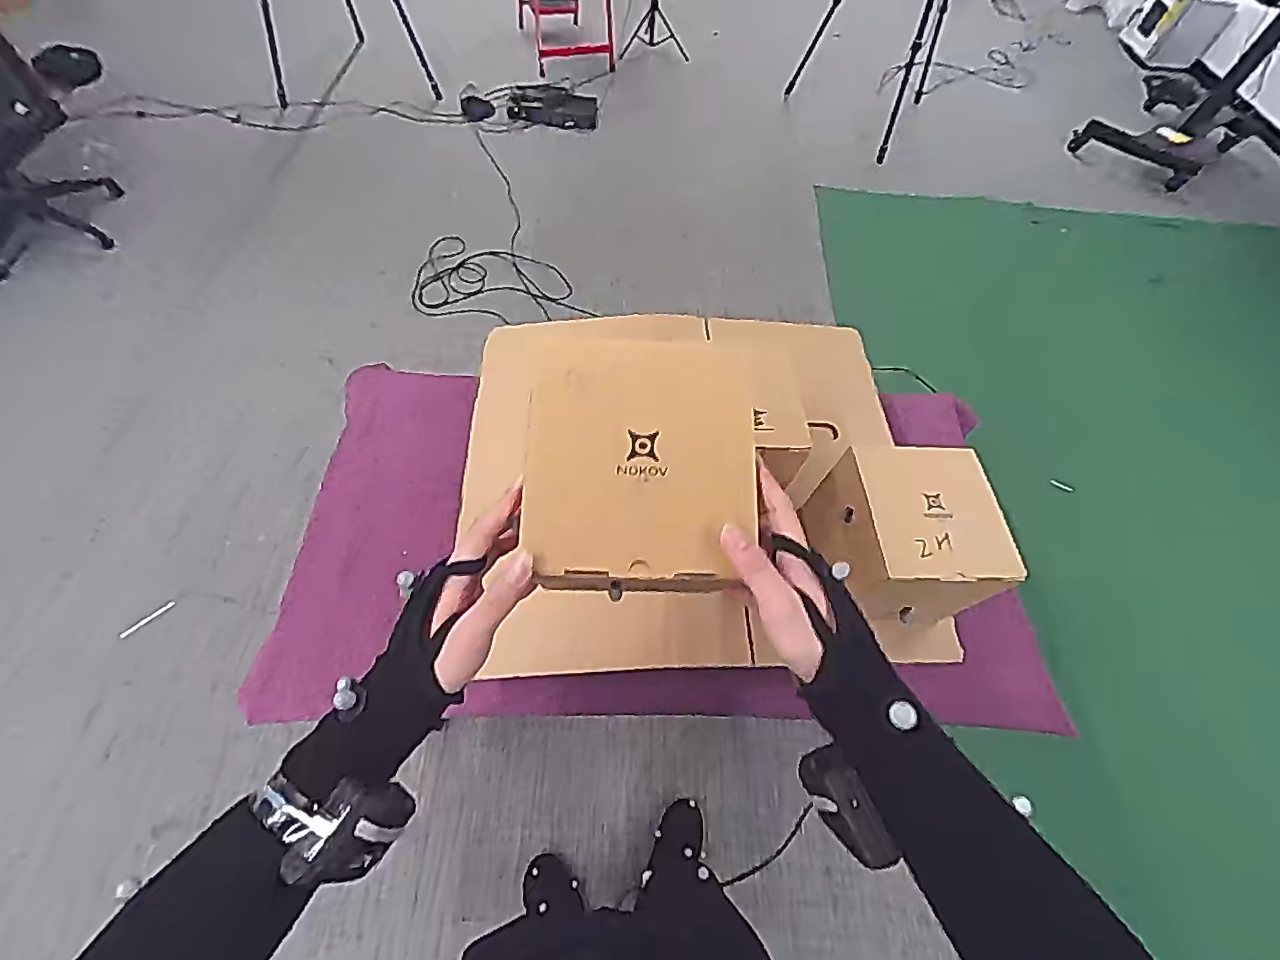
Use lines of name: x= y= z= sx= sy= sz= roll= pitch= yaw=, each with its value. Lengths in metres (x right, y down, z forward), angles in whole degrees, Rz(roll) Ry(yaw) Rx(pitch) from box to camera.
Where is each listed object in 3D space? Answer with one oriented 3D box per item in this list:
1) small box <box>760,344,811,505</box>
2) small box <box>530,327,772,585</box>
small box: x=0.114 y=-0.068 z=0.747 sx=0.168 sy=0.176 sz=0.179 roll=1 pitch=59 yaw=-7
small box: x=0.002 y=-0.006 z=0.456 sx=0.168 sy=0.176 sz=0.179 roll=2 pitch=77 yaw=-5
